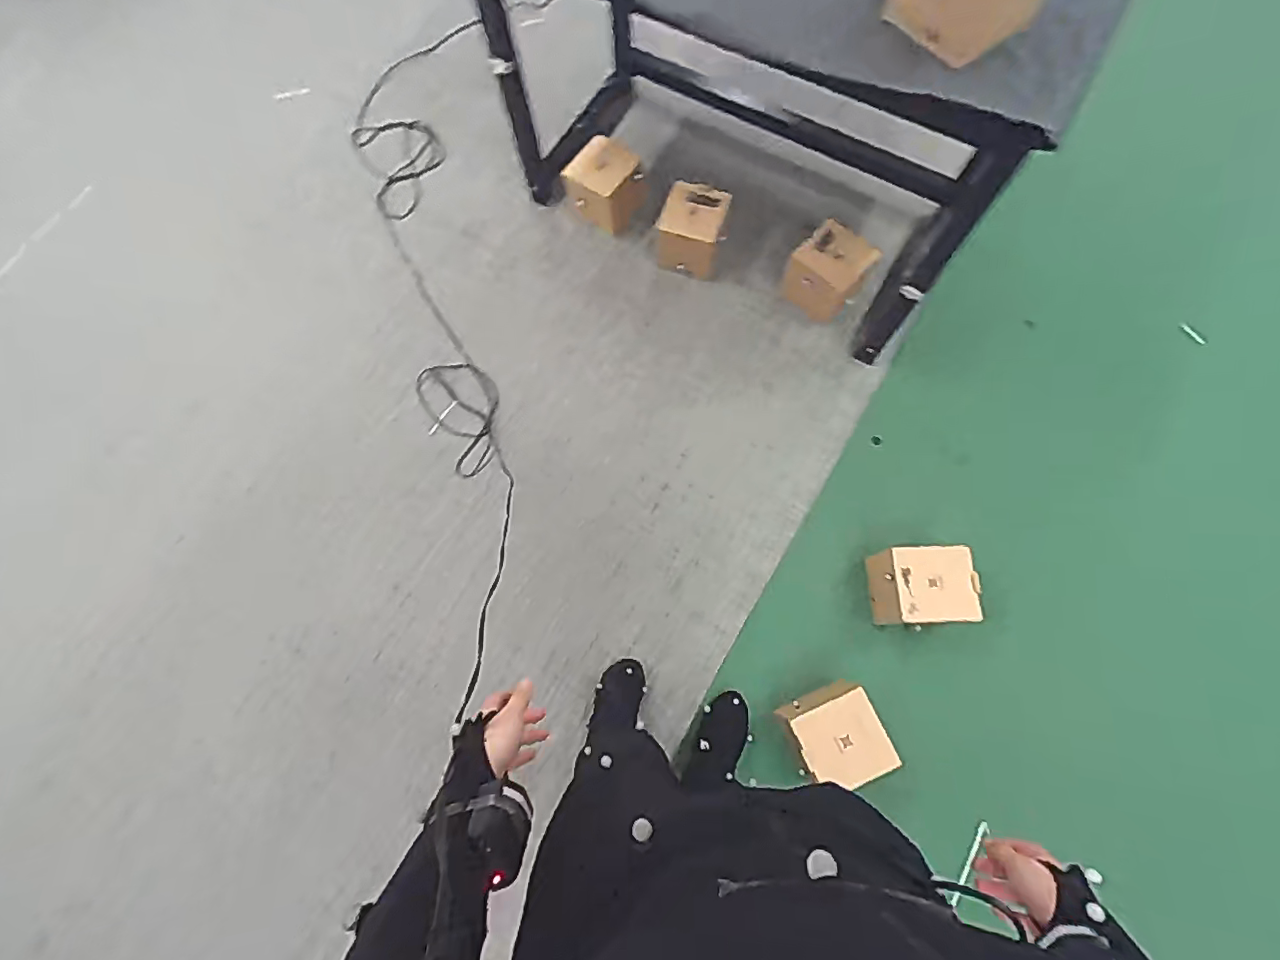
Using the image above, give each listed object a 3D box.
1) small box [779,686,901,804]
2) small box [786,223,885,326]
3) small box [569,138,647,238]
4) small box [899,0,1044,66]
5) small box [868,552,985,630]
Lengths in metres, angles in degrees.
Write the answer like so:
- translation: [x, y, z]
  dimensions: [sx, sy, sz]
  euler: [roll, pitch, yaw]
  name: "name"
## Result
- translation: [0.420, 0.566, 1.177]
  dimensions: [0.179, 0.176, 0.168]
  euler: [-23, 74, -6]
  name: "small box"
- translation: [0.537, -0.570, 1.518]
  dimensions: [0.179, 0.176, 0.168]
  euler: [43, 80, 12]
  name: "small box"
- translation: [-0.087, -0.878, 1.640]
  dimensions: [0.168, 0.176, 0.179]
  euler: [34, 77, 12]
  name: "small box"
- translation: [0.527, -0.780, 0.818]
  dimensions: [0.179, 0.176, 0.168]
  euler: [-36, 75, -11]
  name: "small box"
- translation: [0.659, 0.261, 1.262]
  dimensions: [0.179, 0.176, 0.168]
  euler: [-1, 73, 1]
  name: "small box"
